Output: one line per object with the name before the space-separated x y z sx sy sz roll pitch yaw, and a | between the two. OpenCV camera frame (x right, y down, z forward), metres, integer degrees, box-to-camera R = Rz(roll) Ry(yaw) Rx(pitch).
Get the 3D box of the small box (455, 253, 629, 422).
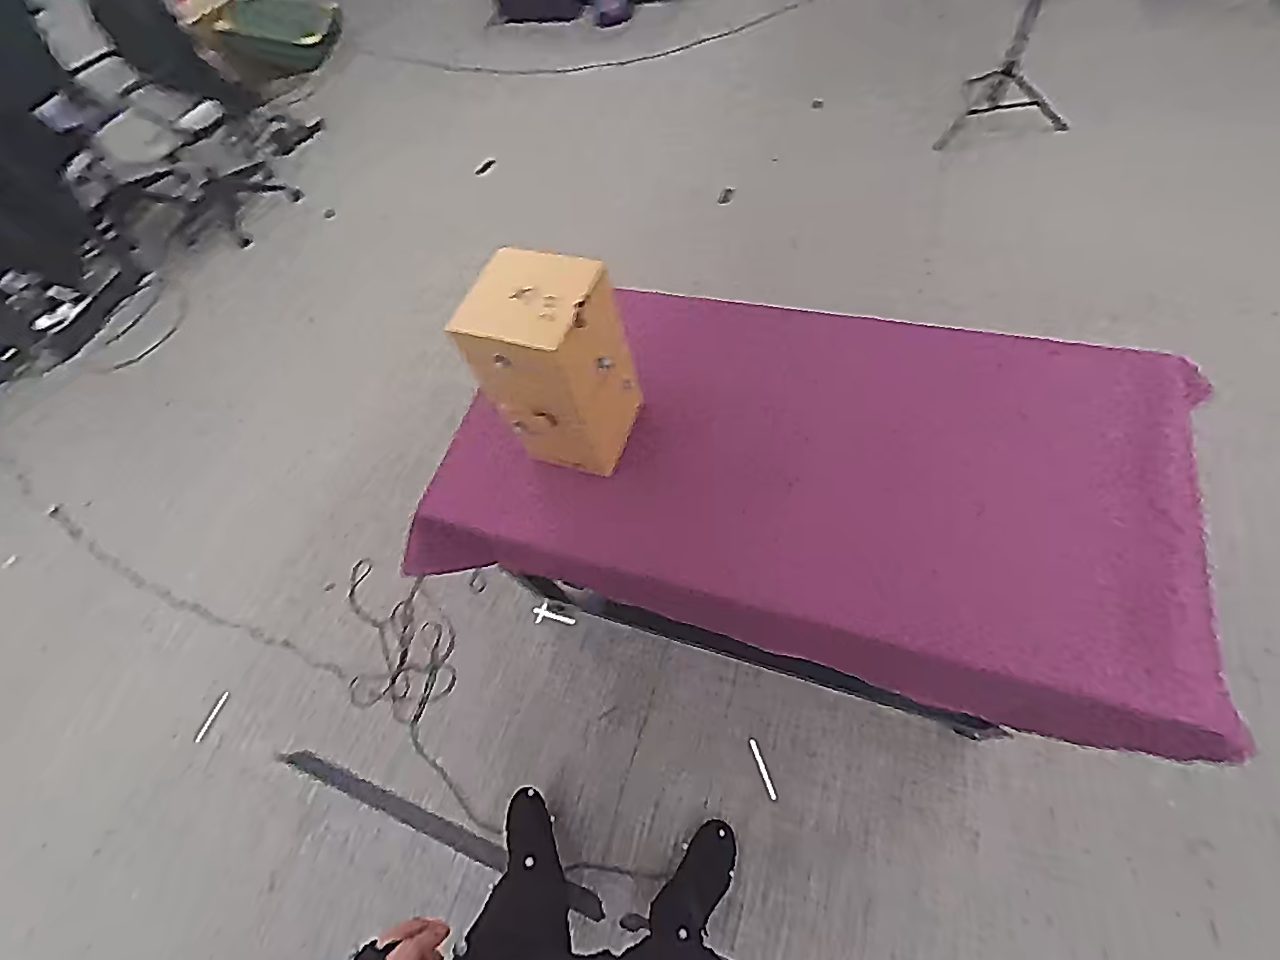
small box | -0.135 -0.209 0.816 0.179 0.176 0.168 16 66 17
